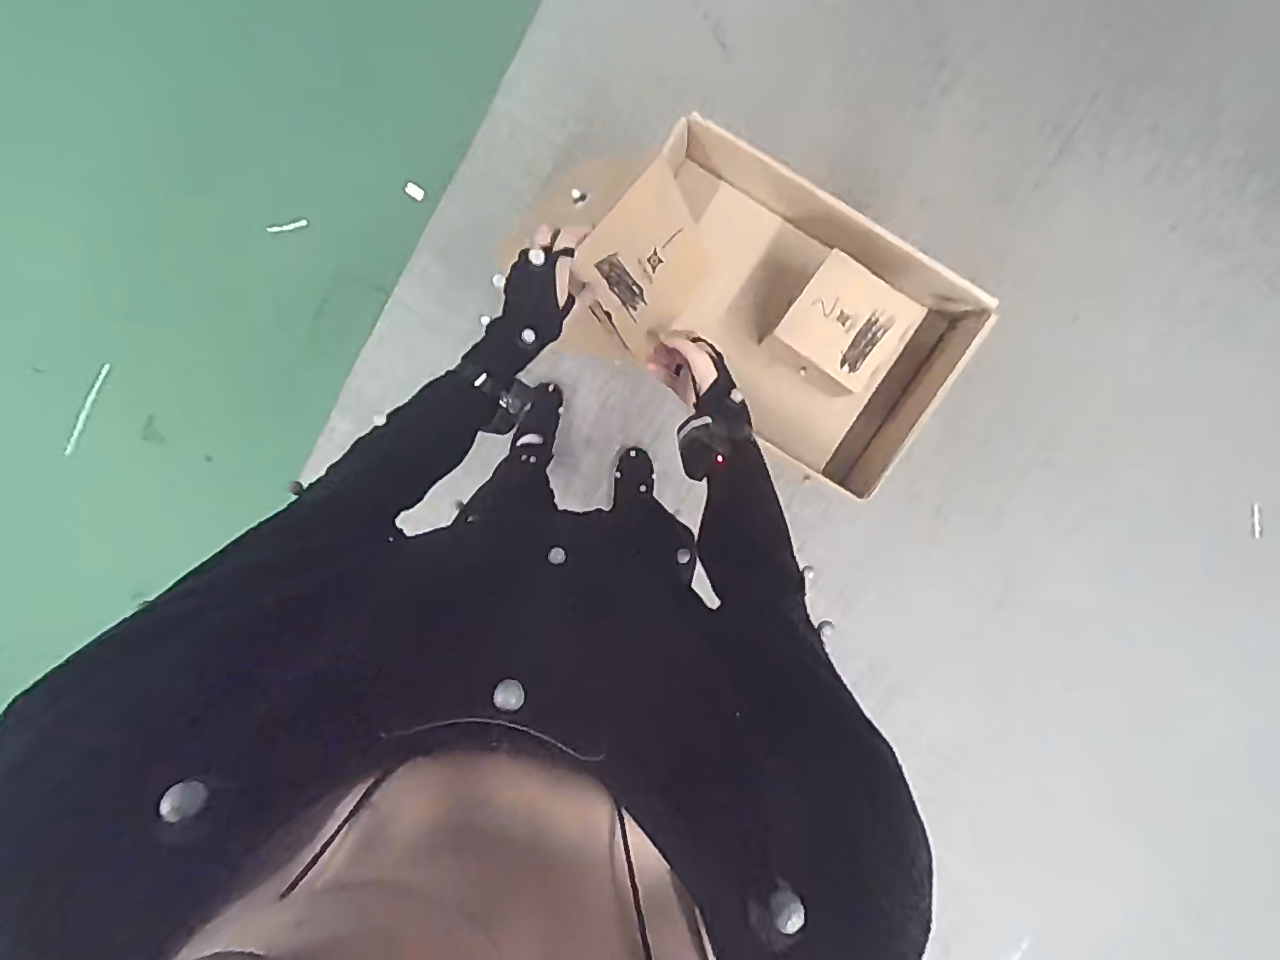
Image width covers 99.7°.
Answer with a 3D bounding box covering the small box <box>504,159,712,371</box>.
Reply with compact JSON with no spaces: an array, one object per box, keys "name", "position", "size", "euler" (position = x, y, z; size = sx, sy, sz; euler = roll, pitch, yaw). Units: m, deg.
[{"name":"small box","position":[-0.046,-0.267,0.689],"size":[0.176,0.168,0.179],"euler":[23,72,43]}]
